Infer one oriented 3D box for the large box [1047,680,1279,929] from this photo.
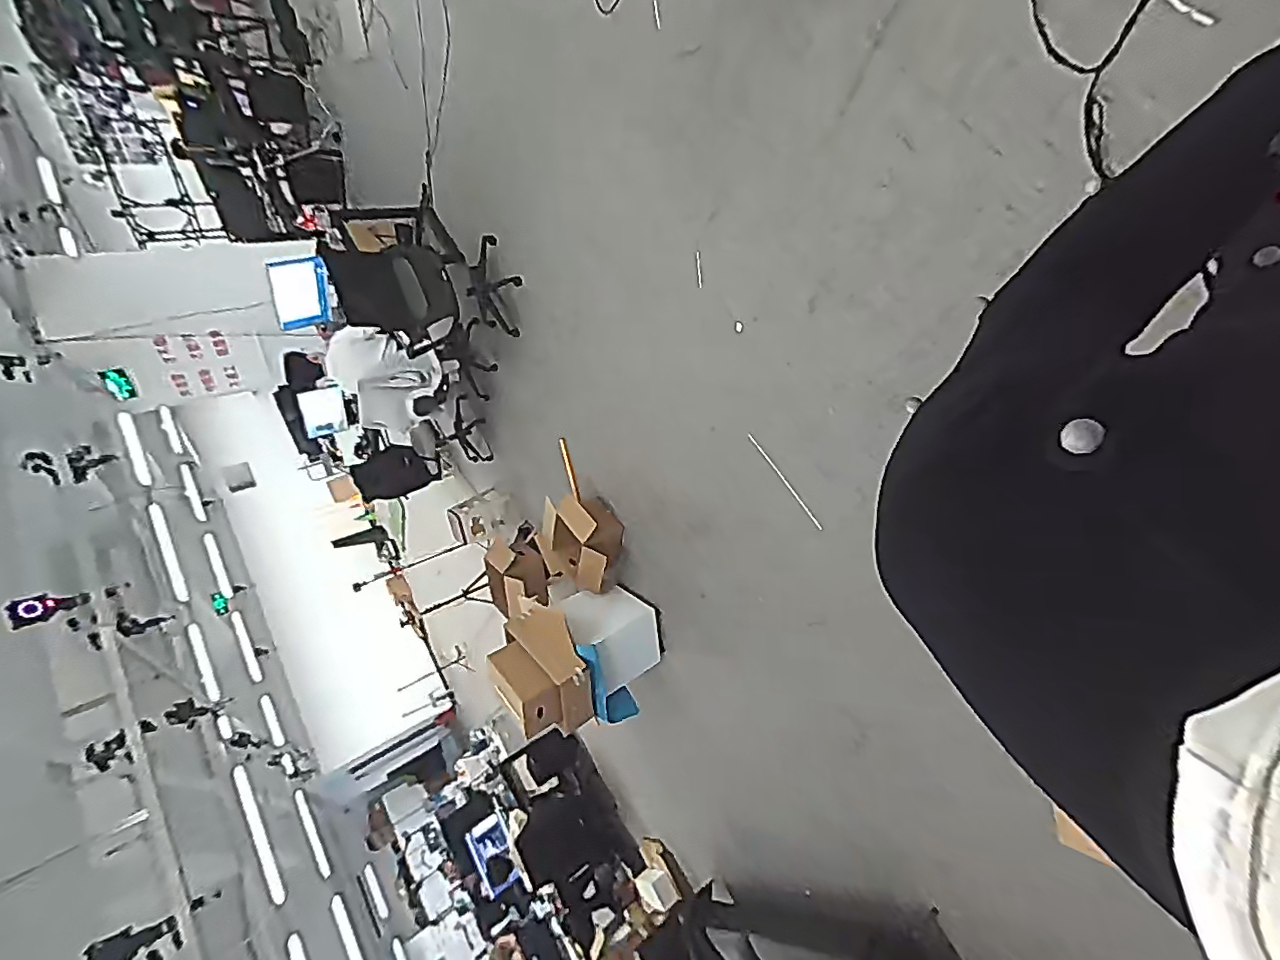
[{"bbox_3d":[1.300,0.744,1.315,0.408,0.320,0.320,-2,108,54],"label":"large box"}]
